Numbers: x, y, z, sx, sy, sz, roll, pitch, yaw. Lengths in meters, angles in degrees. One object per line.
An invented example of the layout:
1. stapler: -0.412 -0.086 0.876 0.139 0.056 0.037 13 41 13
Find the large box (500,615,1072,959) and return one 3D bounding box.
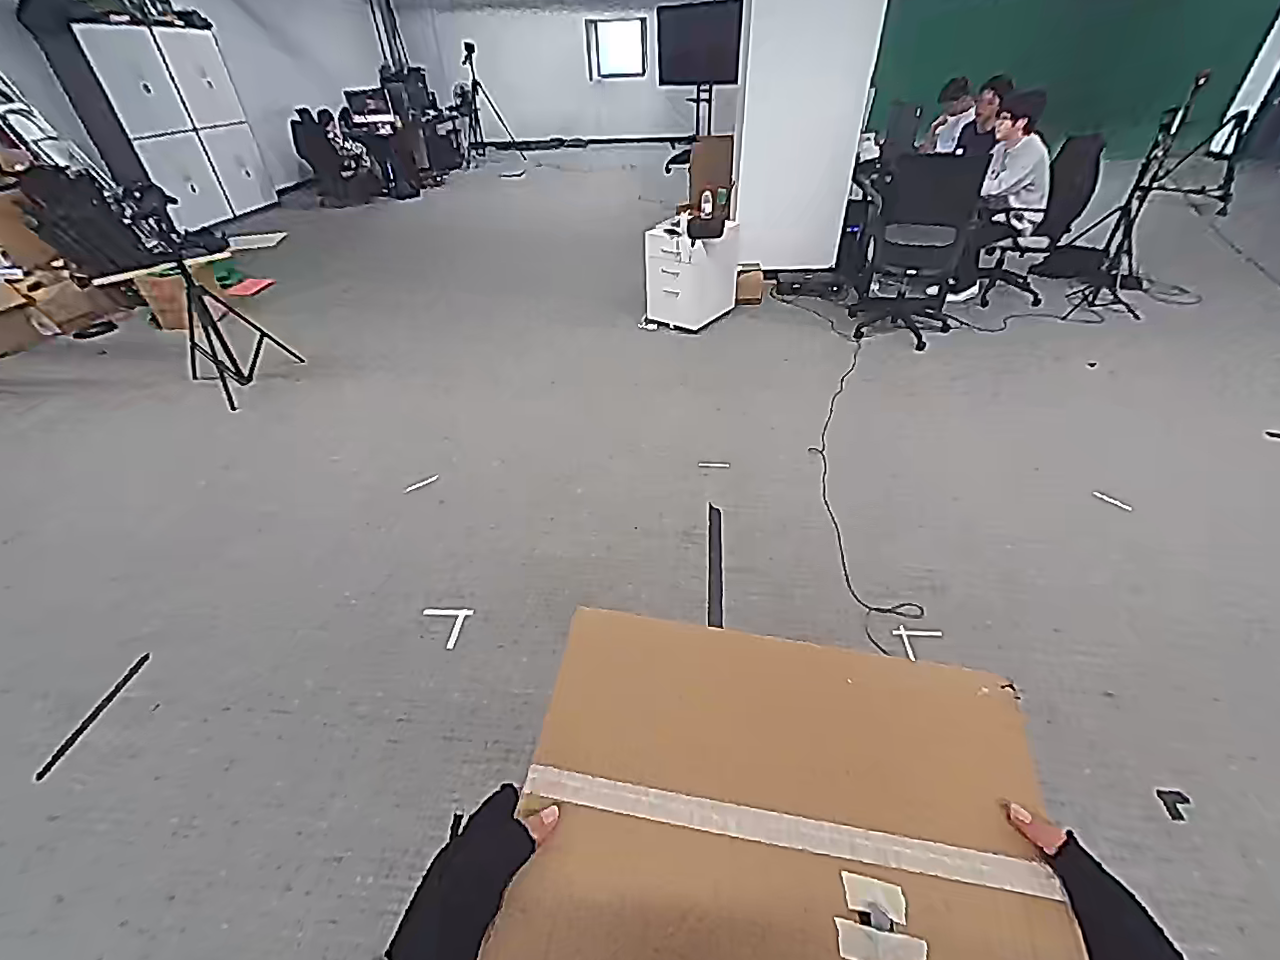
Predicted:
1. large box: 0.115 0.368 0.545 0.408 0.320 0.320 7 52 7
